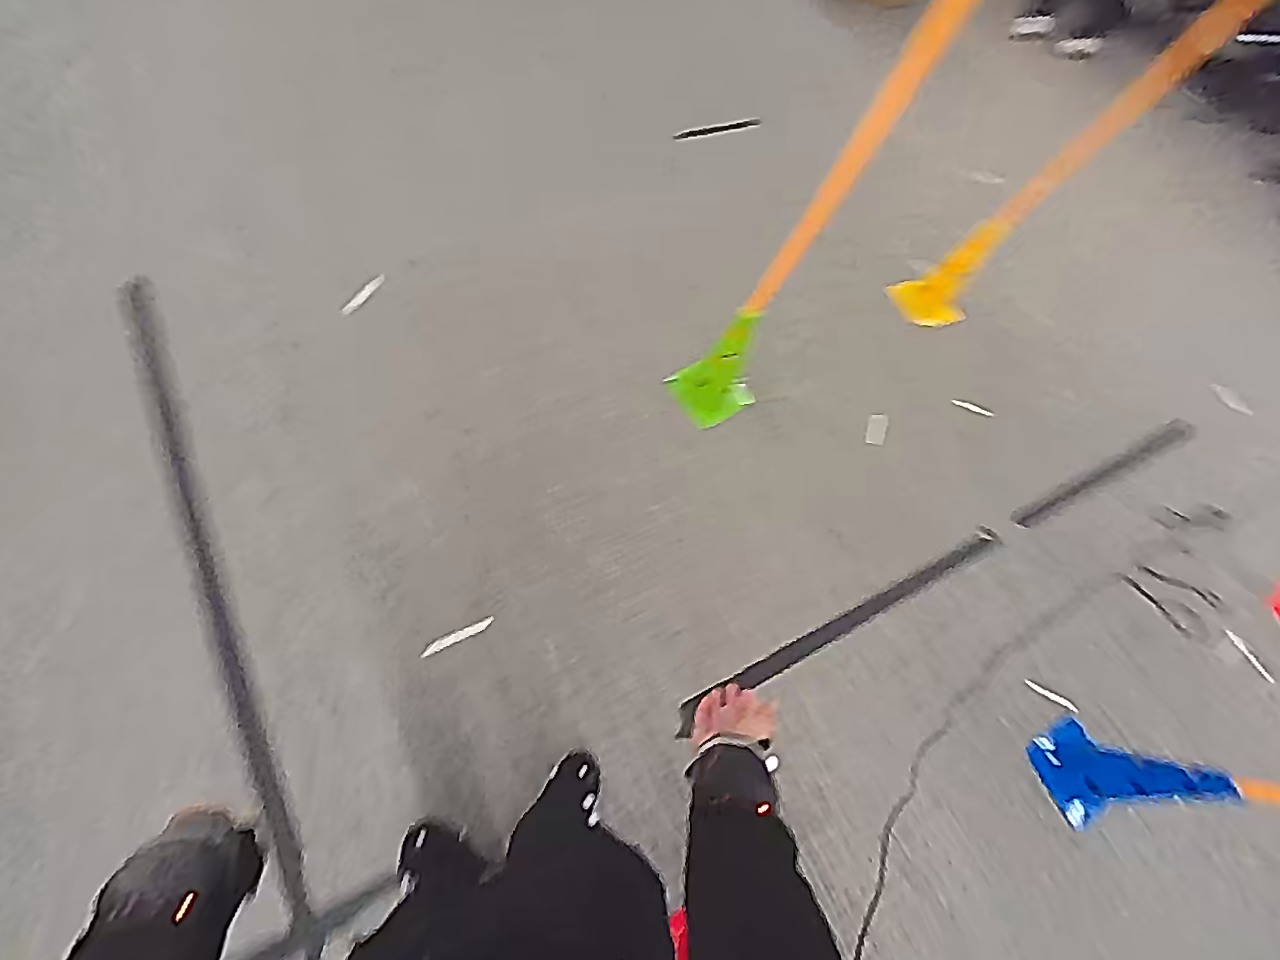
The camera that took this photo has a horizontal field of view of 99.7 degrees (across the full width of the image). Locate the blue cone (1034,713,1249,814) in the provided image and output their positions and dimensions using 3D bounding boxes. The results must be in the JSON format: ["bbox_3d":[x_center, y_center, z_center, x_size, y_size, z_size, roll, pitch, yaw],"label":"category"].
[{"bbox_3d":[1.137,0.649,1.224,0.192,0.380,0.193,-19,71,-20],"label":"blue cone"}]

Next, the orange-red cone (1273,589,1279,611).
[{"bbox_3d":[2.151,0.347,1.563,0.198,0.360,0.199,-27,72,-22],"label":"orange-red cone"}]

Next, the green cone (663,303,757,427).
[{"bbox_3d":[0.230,-0.339,1.478,0.202,0.368,0.200,-33,76,-25],"label":"green cone"}]
